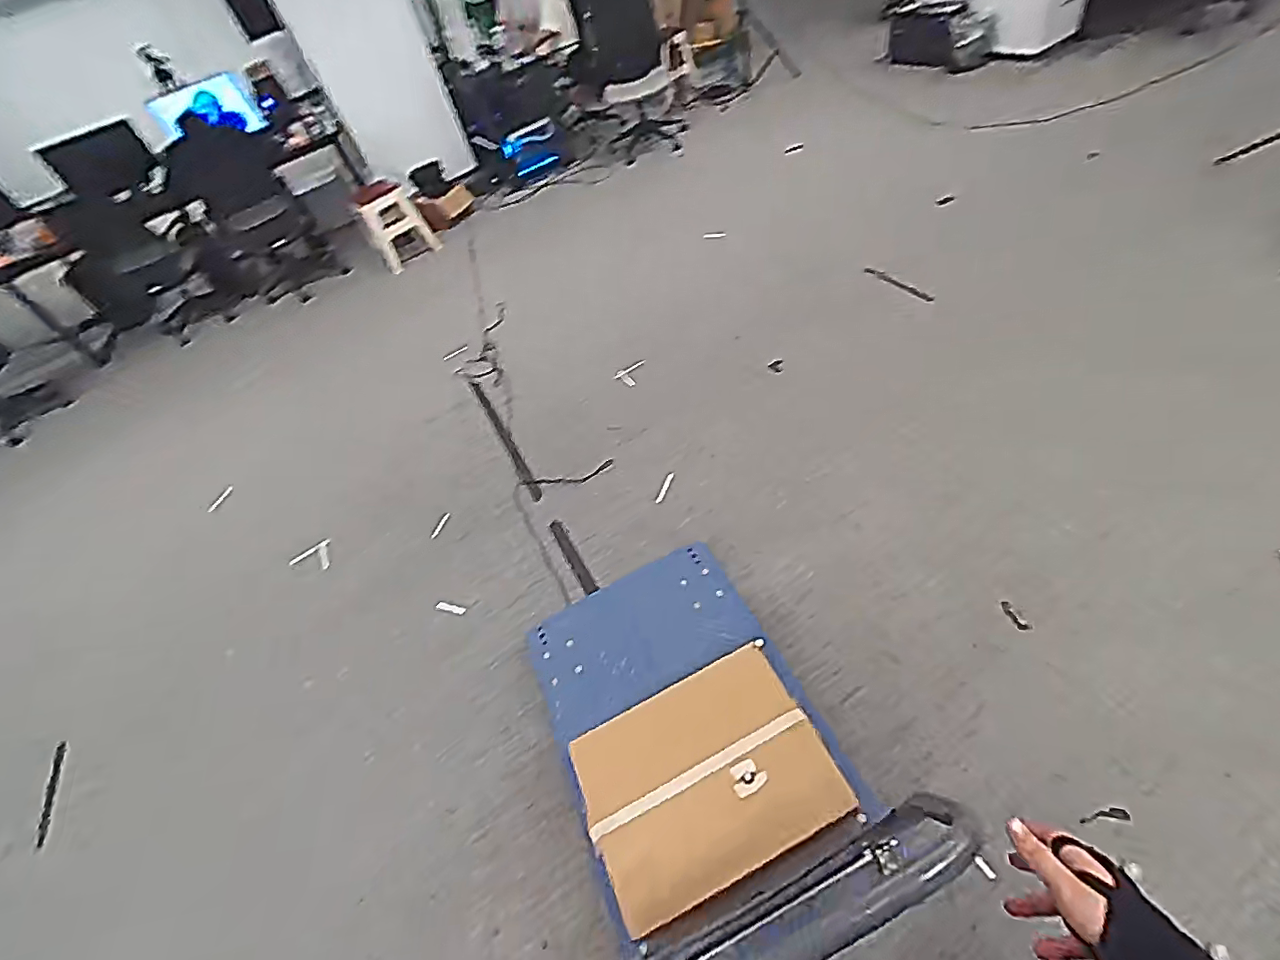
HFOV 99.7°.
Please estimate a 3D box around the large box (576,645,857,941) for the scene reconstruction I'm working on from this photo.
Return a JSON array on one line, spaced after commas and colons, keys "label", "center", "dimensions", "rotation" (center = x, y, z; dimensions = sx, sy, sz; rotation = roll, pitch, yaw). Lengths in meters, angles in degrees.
[{"label": "large box", "center": [0.146, 0.601, 1.042], "dimensions": [0.408, 0.320, 0.320], "rotation": [-26, 48, -6]}]
